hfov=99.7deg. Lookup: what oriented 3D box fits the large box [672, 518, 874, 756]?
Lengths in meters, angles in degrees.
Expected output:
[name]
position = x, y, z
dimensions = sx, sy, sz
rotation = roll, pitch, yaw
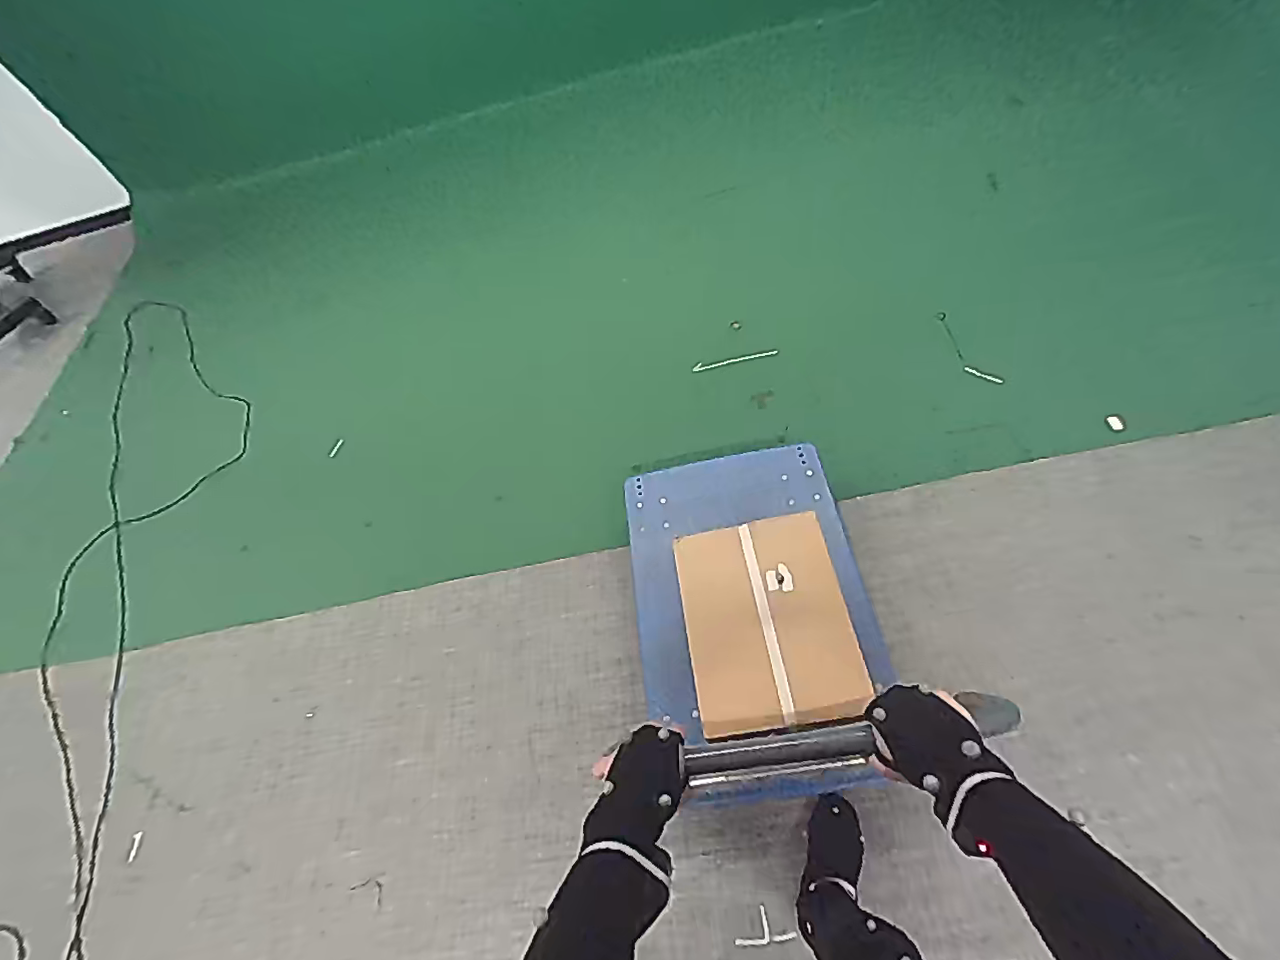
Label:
[large box]
position = 0.276, 0.355, 1.197
dimensions = 0.320, 0.320, 0.408
rotation = -12, 57, 7
